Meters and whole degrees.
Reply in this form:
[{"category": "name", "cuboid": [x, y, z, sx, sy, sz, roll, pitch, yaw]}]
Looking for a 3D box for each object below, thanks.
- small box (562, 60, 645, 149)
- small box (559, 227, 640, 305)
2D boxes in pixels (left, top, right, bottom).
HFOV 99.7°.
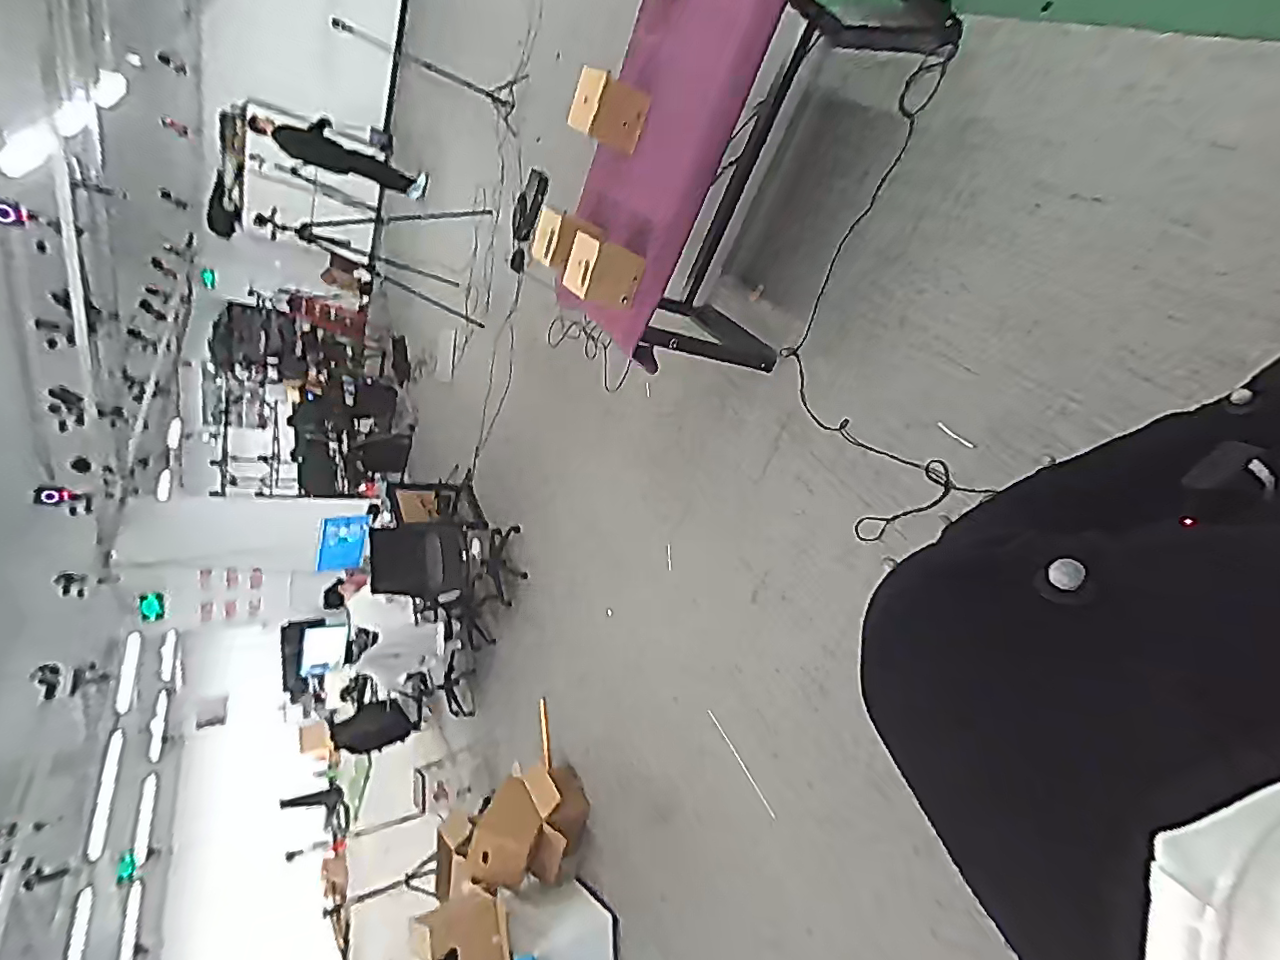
[{"category": "small box", "cuboid": [-0.114, -1.165, 1.684, 0.179, 0.176, 0.168, 53, 128, 39]}, {"category": "small box", "cuboid": [-0.124, -0.654, 1.668, 0.179, 0.176, 0.168, 50, 126, 44]}]
